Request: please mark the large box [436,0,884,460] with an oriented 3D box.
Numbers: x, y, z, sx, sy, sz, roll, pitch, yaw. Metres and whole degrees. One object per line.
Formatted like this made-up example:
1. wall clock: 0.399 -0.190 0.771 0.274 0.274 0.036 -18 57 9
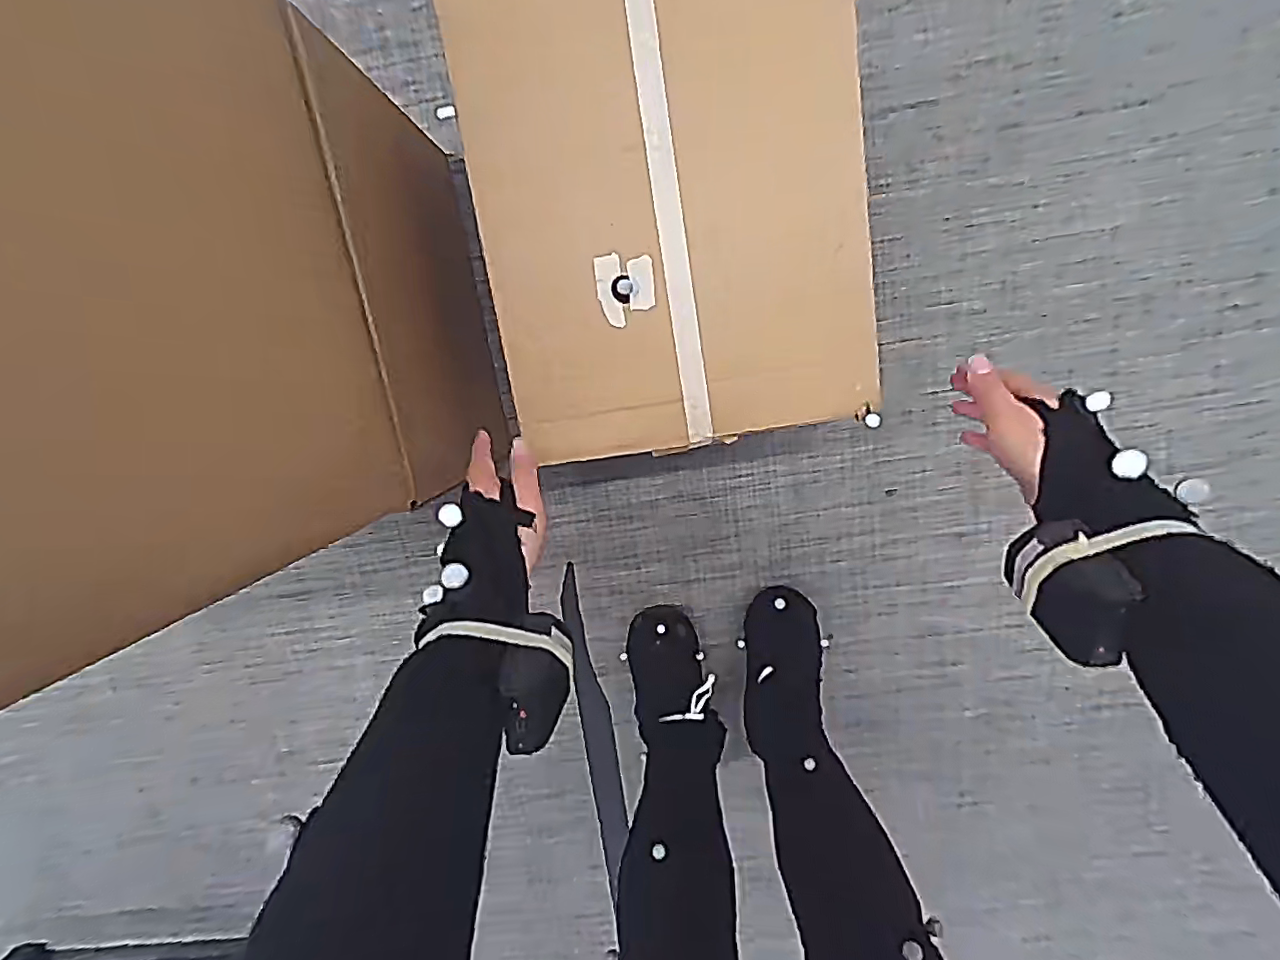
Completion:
1. large box: 0.030 -0.265 0.583 0.320 0.320 0.408 -9 102 5
